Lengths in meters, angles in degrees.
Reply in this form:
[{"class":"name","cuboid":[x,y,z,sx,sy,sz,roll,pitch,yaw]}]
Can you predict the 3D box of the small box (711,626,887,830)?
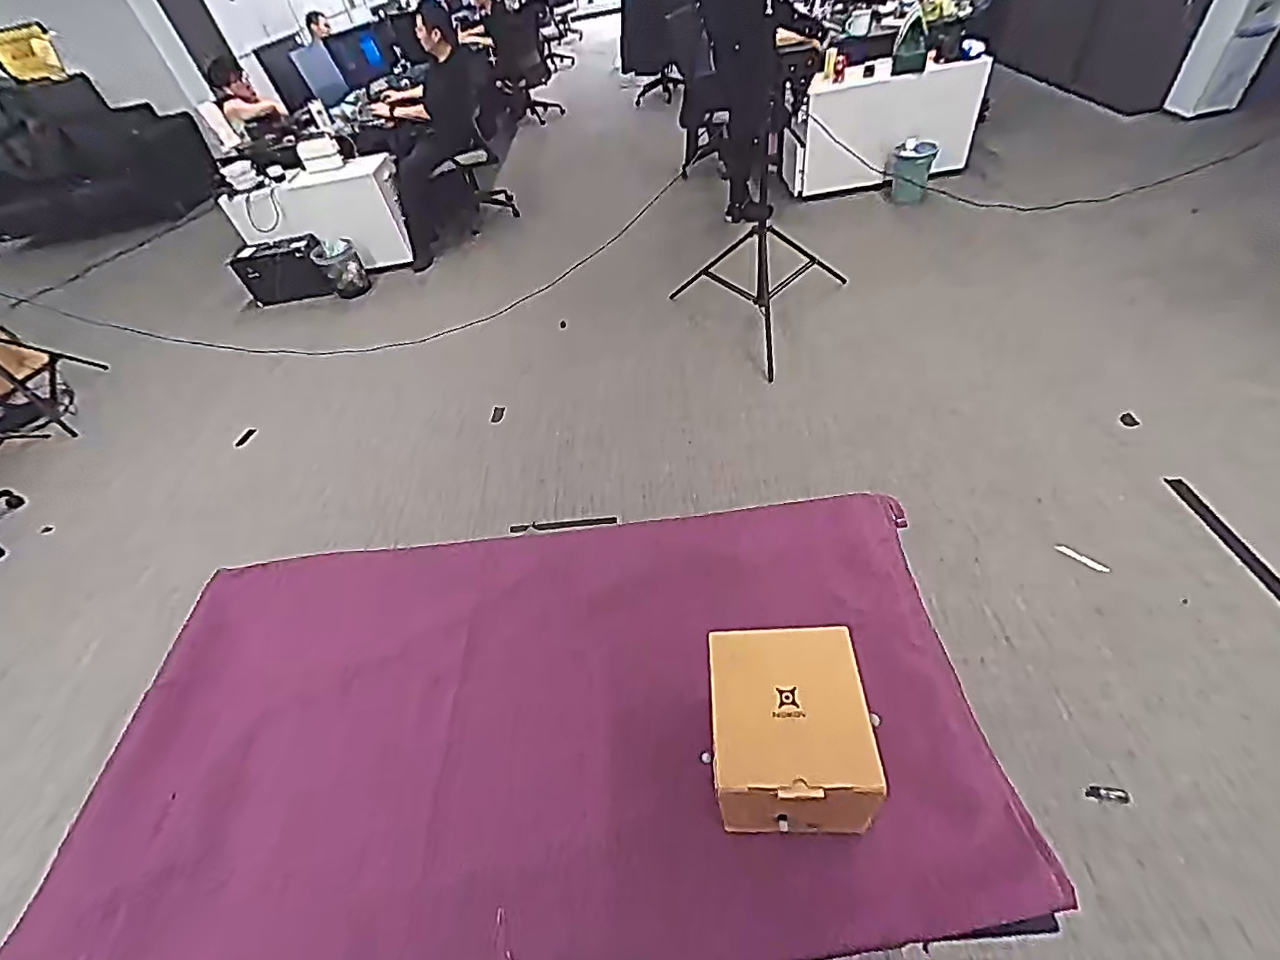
[{"class":"small box","cuboid":[0.174,0.296,0.646,0.168,0.176,0.179,-5,46,8]}]
